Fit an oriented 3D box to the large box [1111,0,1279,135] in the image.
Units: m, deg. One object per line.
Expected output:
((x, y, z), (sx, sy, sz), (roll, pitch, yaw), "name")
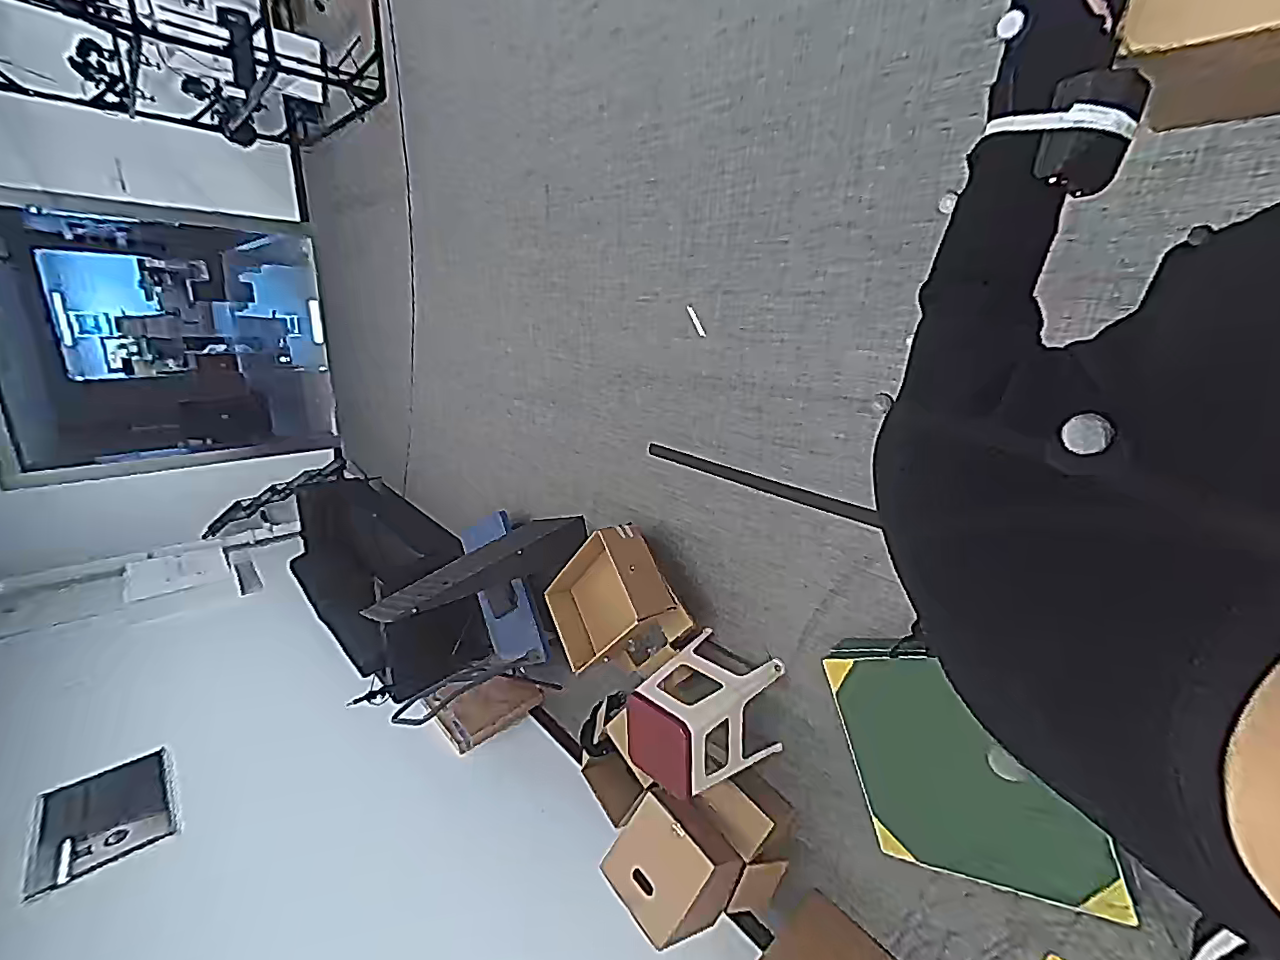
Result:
((0.570, -0.427, 0.298), (0.408, 0.320, 0.320), (18, 119, 41), "large box")
